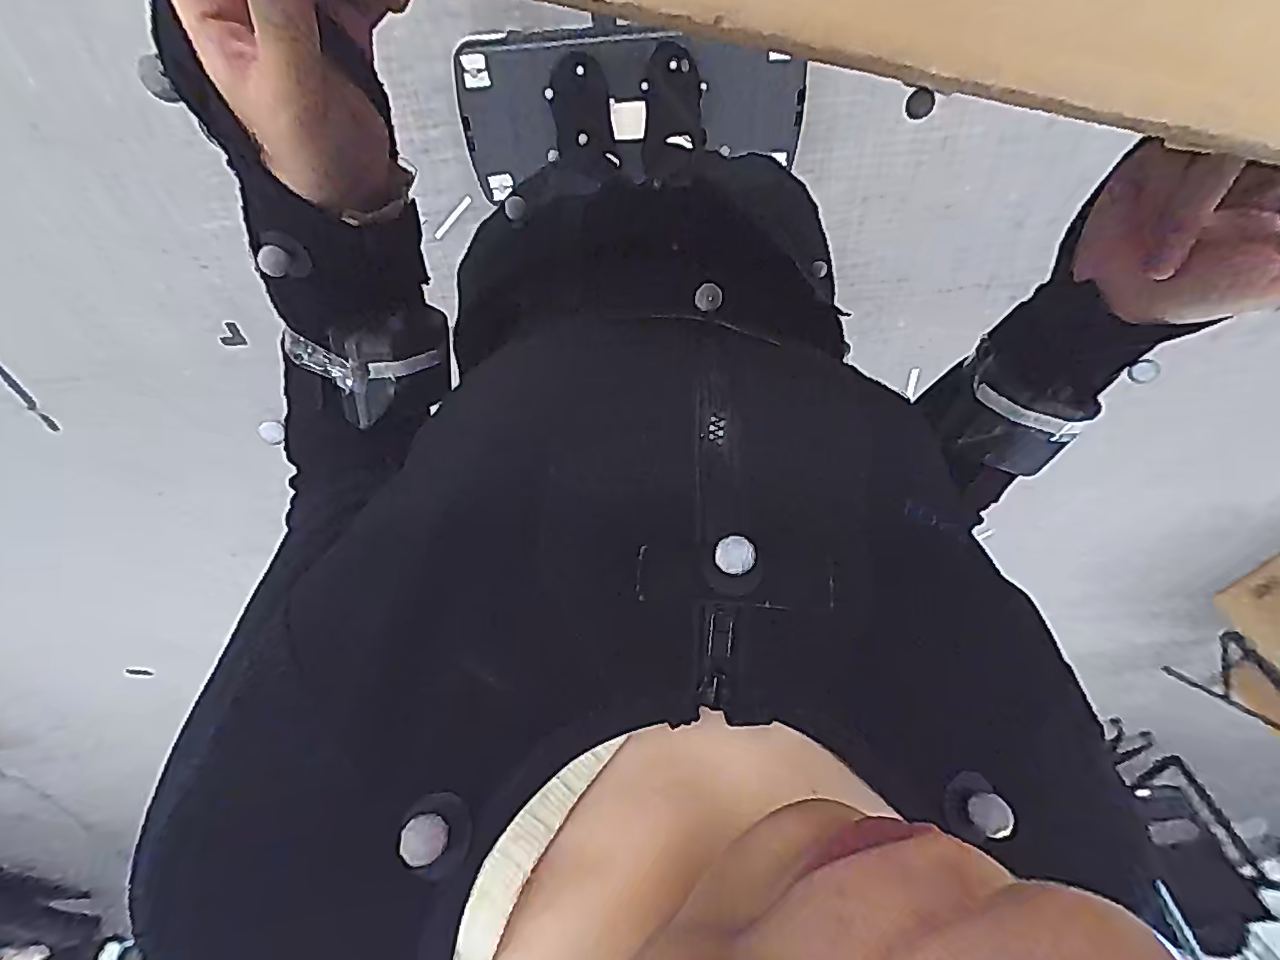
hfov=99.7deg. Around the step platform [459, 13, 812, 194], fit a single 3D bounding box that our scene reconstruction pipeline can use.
[{"bbox_3d":[-0.010,-0.763,1.108,0.684,0.204,0.286,-1,132,-2],"label":"step platform"}]
